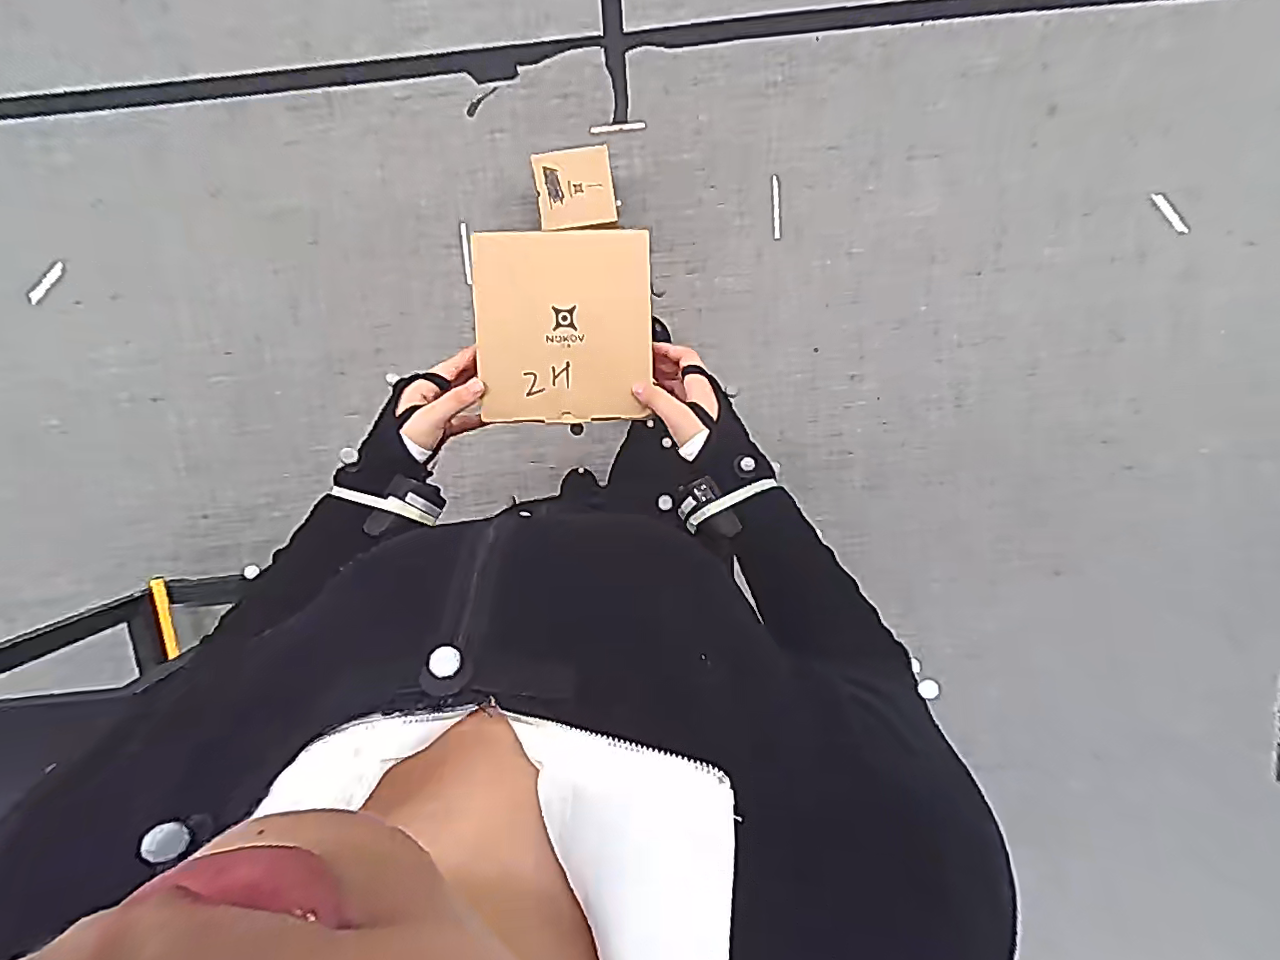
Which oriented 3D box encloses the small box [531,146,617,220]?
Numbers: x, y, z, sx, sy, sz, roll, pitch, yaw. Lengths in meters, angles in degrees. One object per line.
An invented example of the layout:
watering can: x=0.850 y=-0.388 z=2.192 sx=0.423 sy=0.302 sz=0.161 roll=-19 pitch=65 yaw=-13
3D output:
small box: x=-0.147 y=-0.660 z=1.286 sx=0.179 sy=0.176 sz=0.168 roll=-8 pitch=99 yaw=0

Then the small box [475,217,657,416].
small box: x=-0.070 y=-0.158 z=0.575 sx=0.168 sy=0.176 sz=0.179 roll=-2 pitch=97 yaw=-1
